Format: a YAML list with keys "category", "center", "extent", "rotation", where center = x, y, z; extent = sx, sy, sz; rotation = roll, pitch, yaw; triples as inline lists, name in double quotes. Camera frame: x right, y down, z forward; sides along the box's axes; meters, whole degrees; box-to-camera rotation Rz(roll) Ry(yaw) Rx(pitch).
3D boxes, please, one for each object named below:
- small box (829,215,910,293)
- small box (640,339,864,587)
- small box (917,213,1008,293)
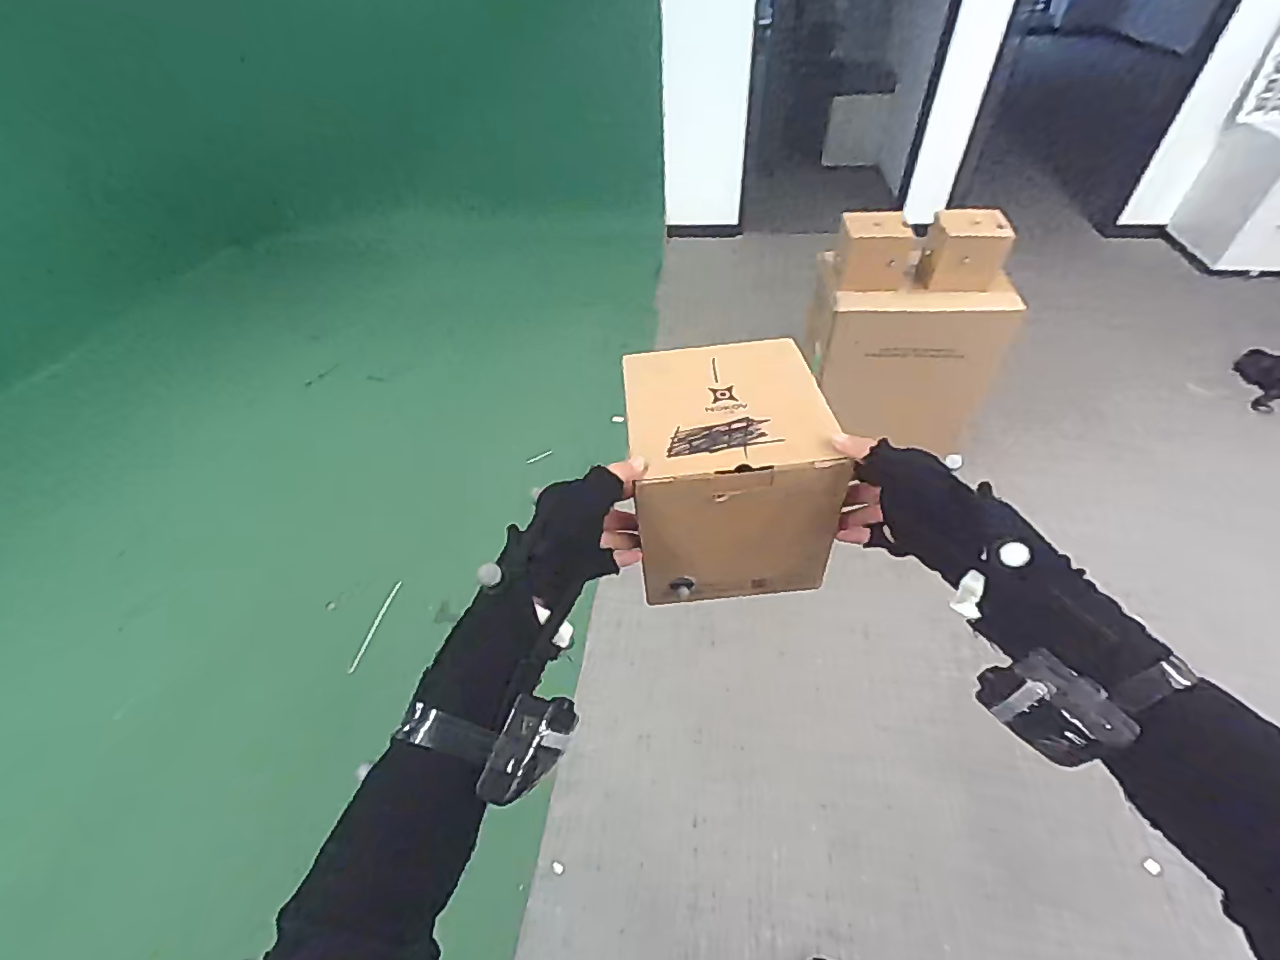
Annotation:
- category: "small box"
  center: [0.694, -0.688, 1.652]
  extent: [0.179, 0.176, 0.168]
  rotation: [0, 49, 6]
- category: "small box"
  center: [0.091, -0.011, 0.518]
  extent: [0.168, 0.176, 0.179]
  rotation: [-5, 43, 0]
- category: "small box"
  center: [0.954, -0.679, 1.623]
  extent: [0.179, 0.176, 0.168]
  rotation: [3, 51, 7]
